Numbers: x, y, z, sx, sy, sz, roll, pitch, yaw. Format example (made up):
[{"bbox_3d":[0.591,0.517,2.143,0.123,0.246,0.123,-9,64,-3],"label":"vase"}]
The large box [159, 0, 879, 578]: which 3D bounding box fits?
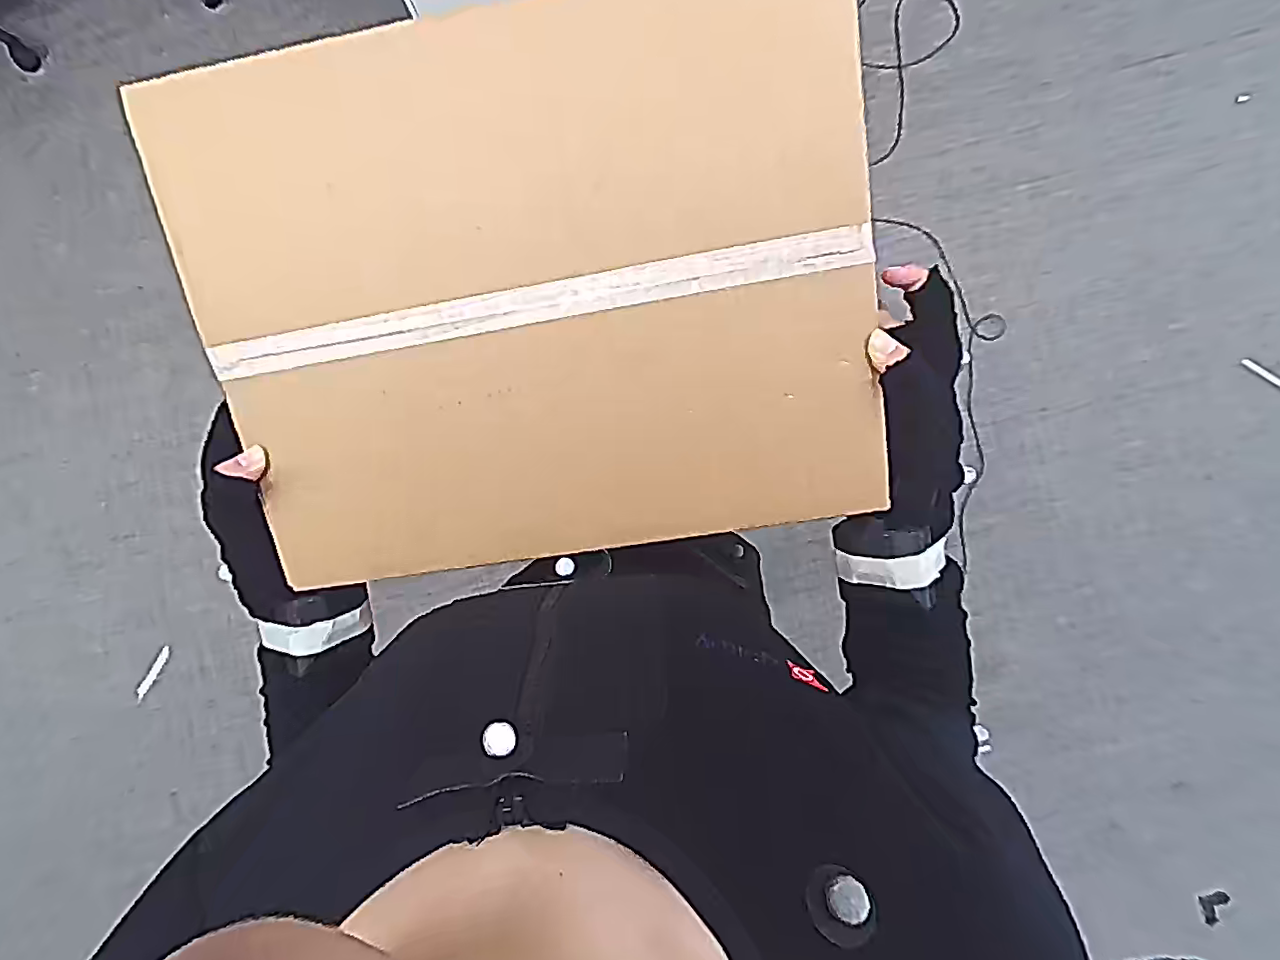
[{"bbox_3d":[-0.060,-0.141,0.477,0.408,0.320,0.320,-9,104,5],"label":"large box"}]
